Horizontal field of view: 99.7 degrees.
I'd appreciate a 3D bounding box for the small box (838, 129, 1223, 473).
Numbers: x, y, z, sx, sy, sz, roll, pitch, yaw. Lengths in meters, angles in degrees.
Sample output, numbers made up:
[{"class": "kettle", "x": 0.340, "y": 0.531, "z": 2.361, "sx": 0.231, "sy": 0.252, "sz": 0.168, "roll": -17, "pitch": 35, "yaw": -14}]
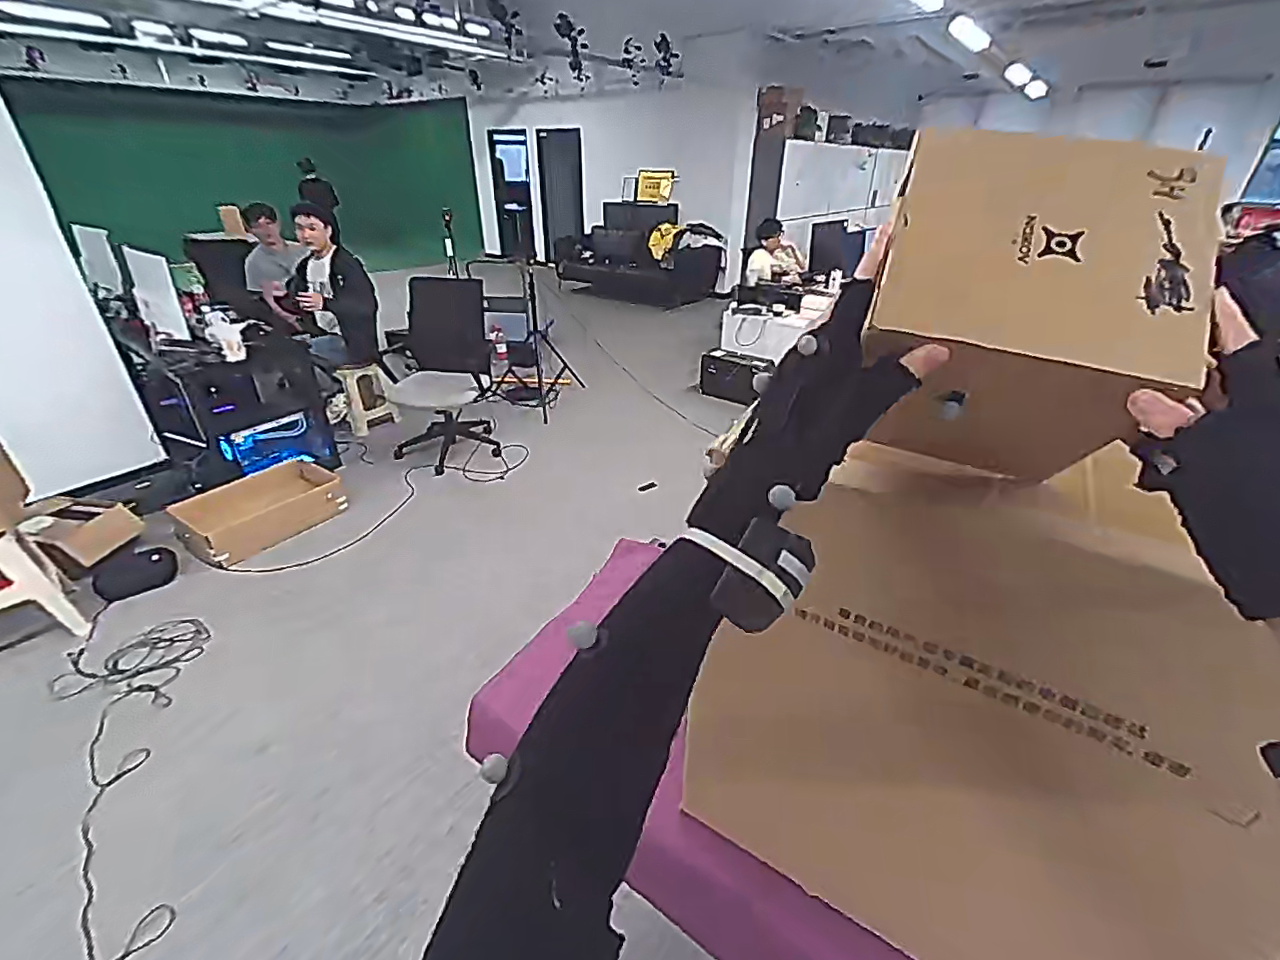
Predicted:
[{"class": "small box", "x": 0.261, "y": -0.121, "z": 0.405, "sx": 0.179, "sy": 0.176, "sz": 0.168, "roll": 16, "pitch": 74, "yaw": 17}]
